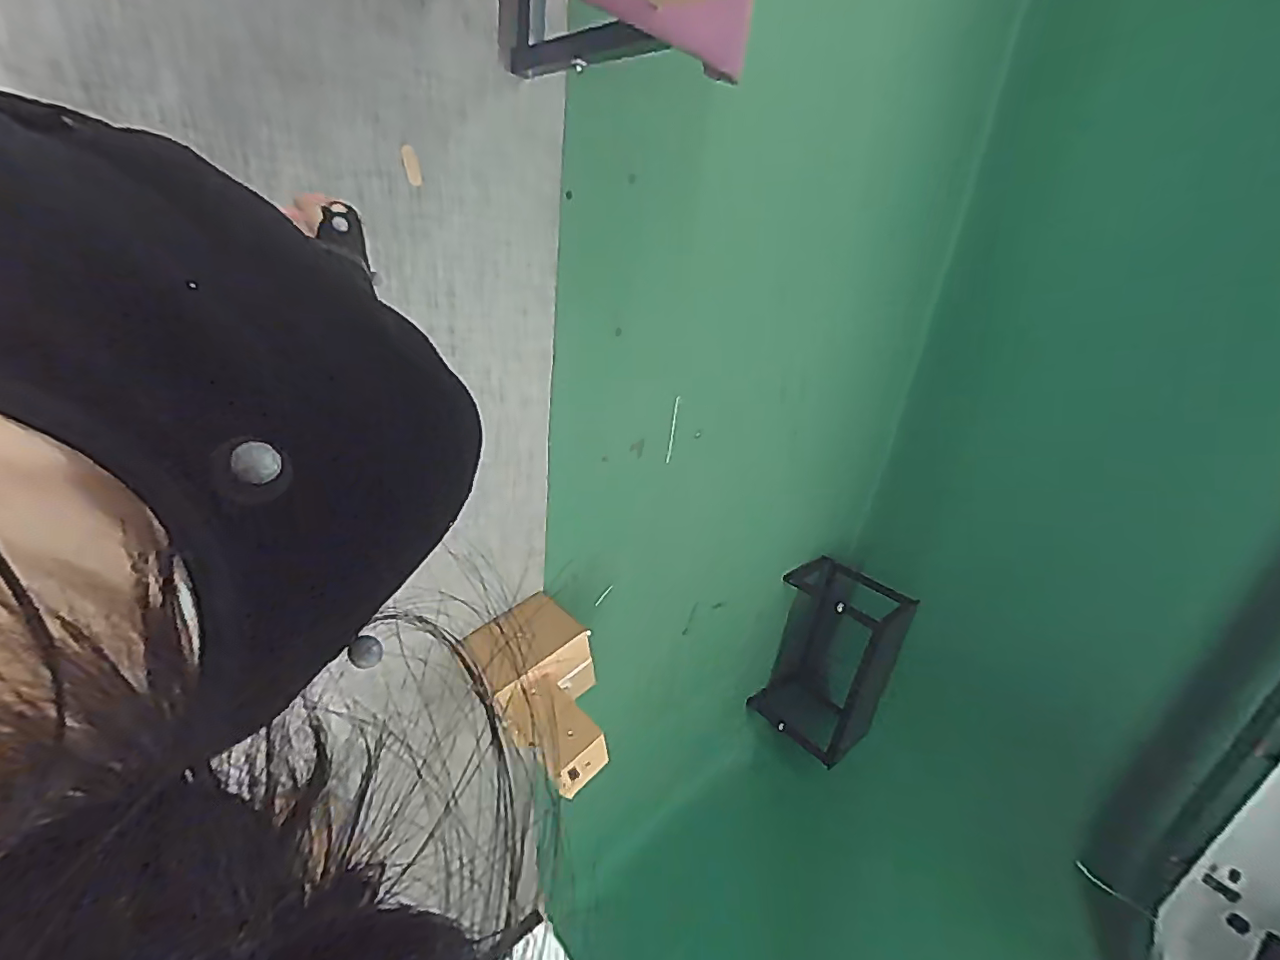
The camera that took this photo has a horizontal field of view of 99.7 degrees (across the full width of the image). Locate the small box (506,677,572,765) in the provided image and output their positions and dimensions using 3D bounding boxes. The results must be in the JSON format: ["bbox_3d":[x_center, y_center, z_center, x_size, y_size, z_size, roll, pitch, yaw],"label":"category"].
[{"bbox_3d":[-0.347,0.822,1.855,0.179,0.176,0.168,-25,128,-36],"label":"small box"}]

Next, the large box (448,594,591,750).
[{"bbox_3d":[-0.451,0.715,2.068,0.408,0.320,0.320,-30,131,-34],"label":"large box"}]

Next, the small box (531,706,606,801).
[{"bbox_3d":[-0.235,0.879,1.749,0.179,0.176,0.168,-30,130,-34],"label":"small box"}]
